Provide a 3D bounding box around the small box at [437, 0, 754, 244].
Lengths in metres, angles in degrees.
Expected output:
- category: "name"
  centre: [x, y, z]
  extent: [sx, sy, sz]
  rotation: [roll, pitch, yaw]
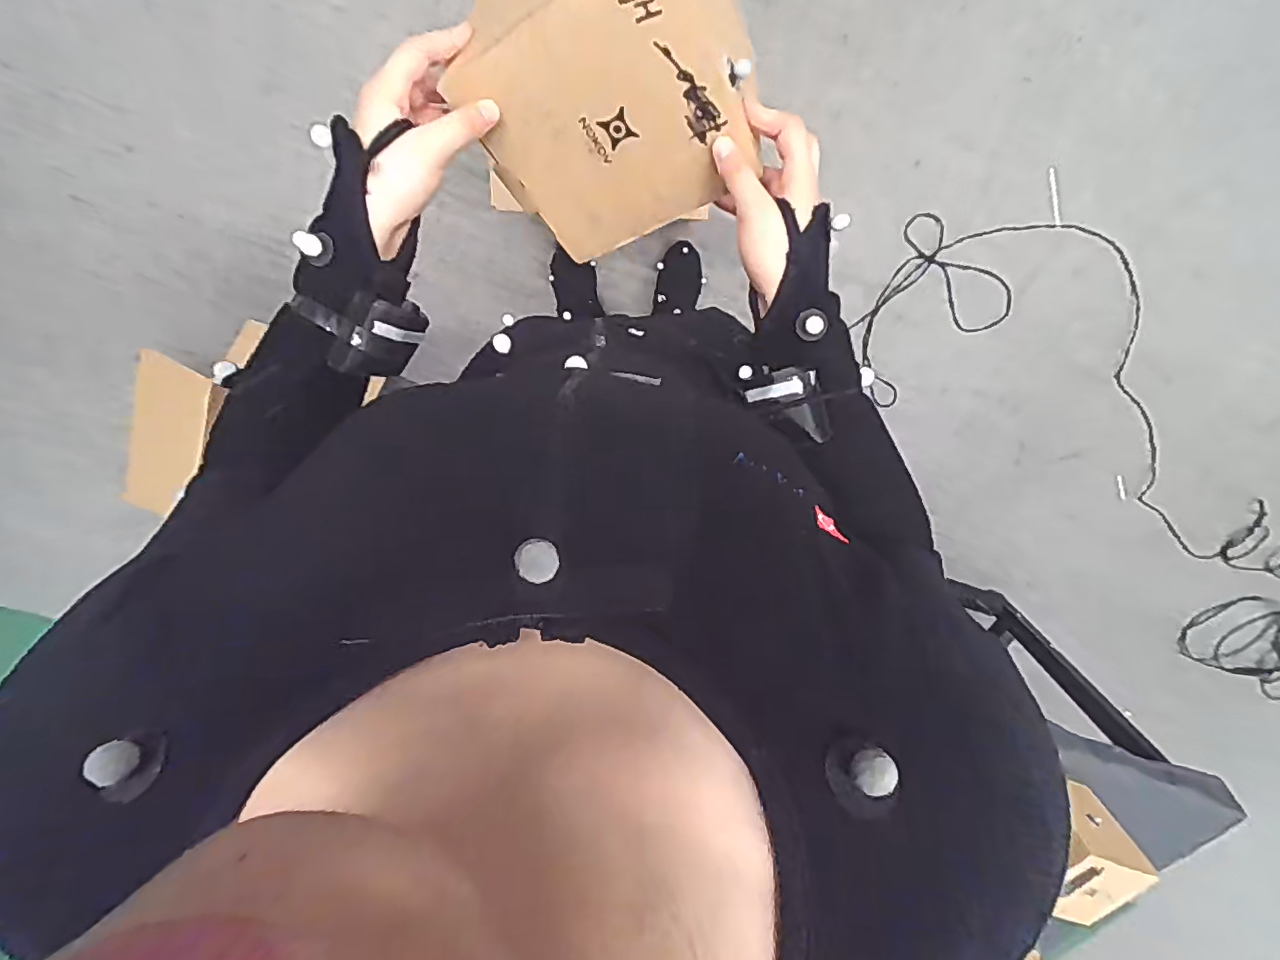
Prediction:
- category: "small box"
  centre: [-0.019, -0.331, 0.423]
  extent: [0.179, 0.176, 0.168]
  rotation: [-12, 148, 28]
